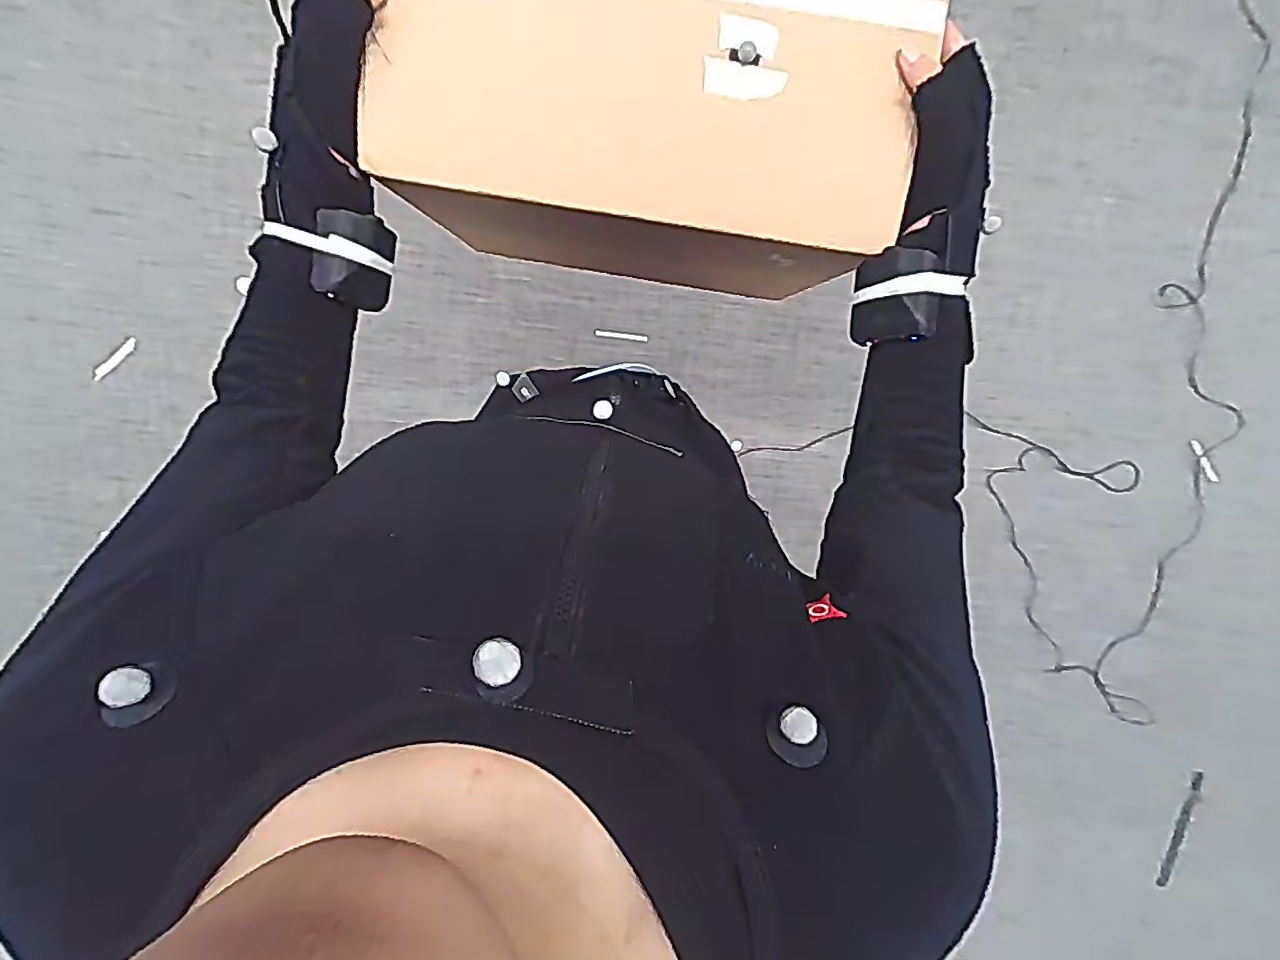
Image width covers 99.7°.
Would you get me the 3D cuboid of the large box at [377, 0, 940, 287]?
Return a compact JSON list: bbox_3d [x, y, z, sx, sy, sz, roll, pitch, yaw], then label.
[{"bbox_3d":[0.013,-0.390,0.527,0.408,0.320,0.320,8,104,-3],"label":"large box"}]
